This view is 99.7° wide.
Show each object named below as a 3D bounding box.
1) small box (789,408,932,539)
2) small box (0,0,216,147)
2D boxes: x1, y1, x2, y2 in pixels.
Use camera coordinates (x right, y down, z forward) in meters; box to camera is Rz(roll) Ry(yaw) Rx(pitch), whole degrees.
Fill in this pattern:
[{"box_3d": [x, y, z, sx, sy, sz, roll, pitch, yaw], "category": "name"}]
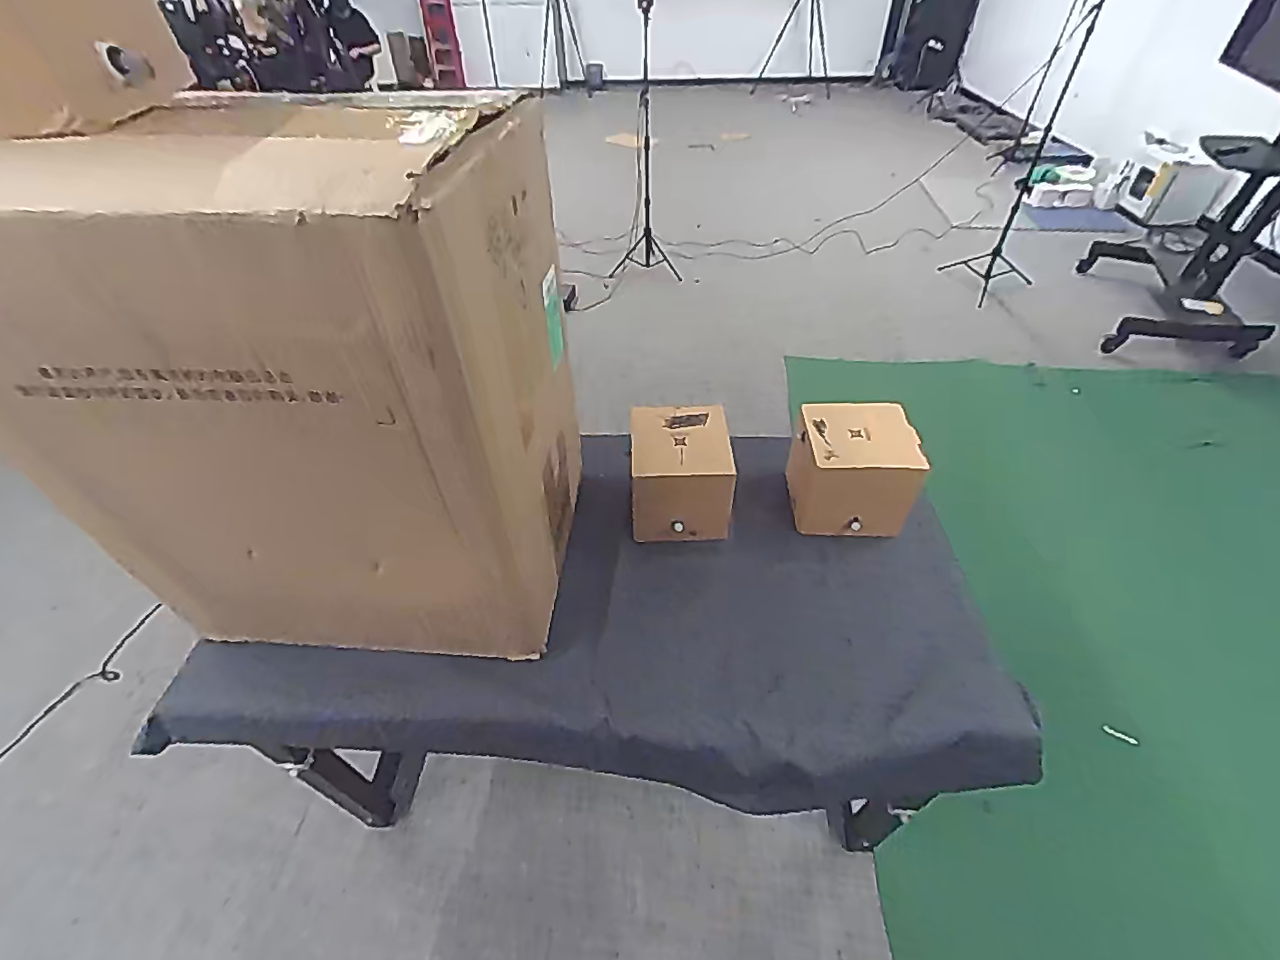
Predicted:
[{"box_3d": [0.377, -0.009, 0.959, 0.179, 0.176, 0.168, 2, 45, 3], "category": "small box"}, {"box_3d": [-0.526, -0.400, 0.456, 0.179, 0.176, 0.168, -1, 50, 0], "category": "small box"}]
